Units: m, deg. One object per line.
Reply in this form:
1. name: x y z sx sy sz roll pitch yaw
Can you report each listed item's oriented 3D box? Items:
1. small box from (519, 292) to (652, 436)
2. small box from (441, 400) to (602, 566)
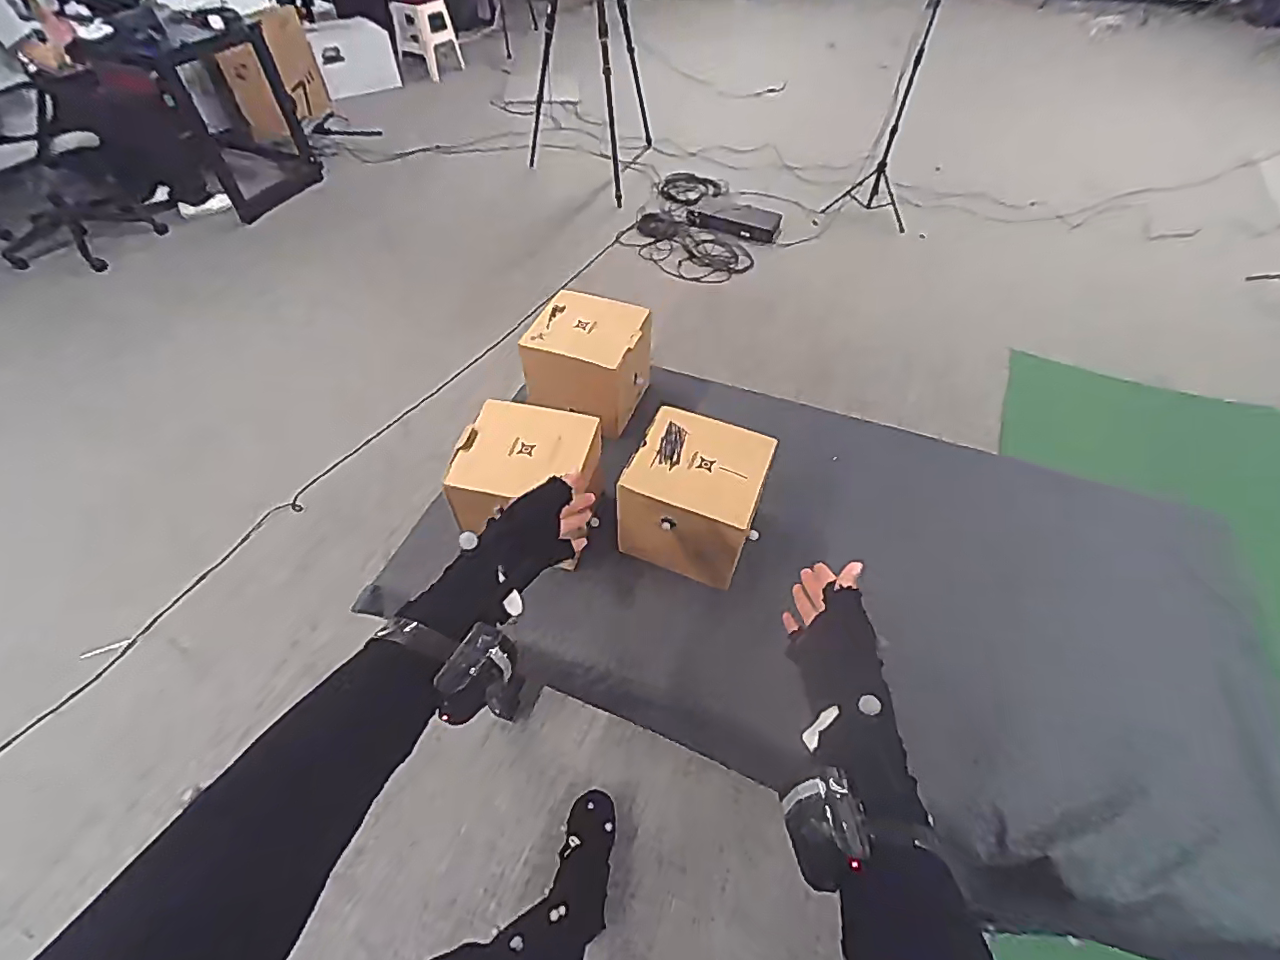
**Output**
1. small box: -0.090 -0.203 0.970 0.179 0.176 0.168 18 54 11
2. small box: -0.161 0.009 0.803 0.179 0.176 0.168 12 52 6
